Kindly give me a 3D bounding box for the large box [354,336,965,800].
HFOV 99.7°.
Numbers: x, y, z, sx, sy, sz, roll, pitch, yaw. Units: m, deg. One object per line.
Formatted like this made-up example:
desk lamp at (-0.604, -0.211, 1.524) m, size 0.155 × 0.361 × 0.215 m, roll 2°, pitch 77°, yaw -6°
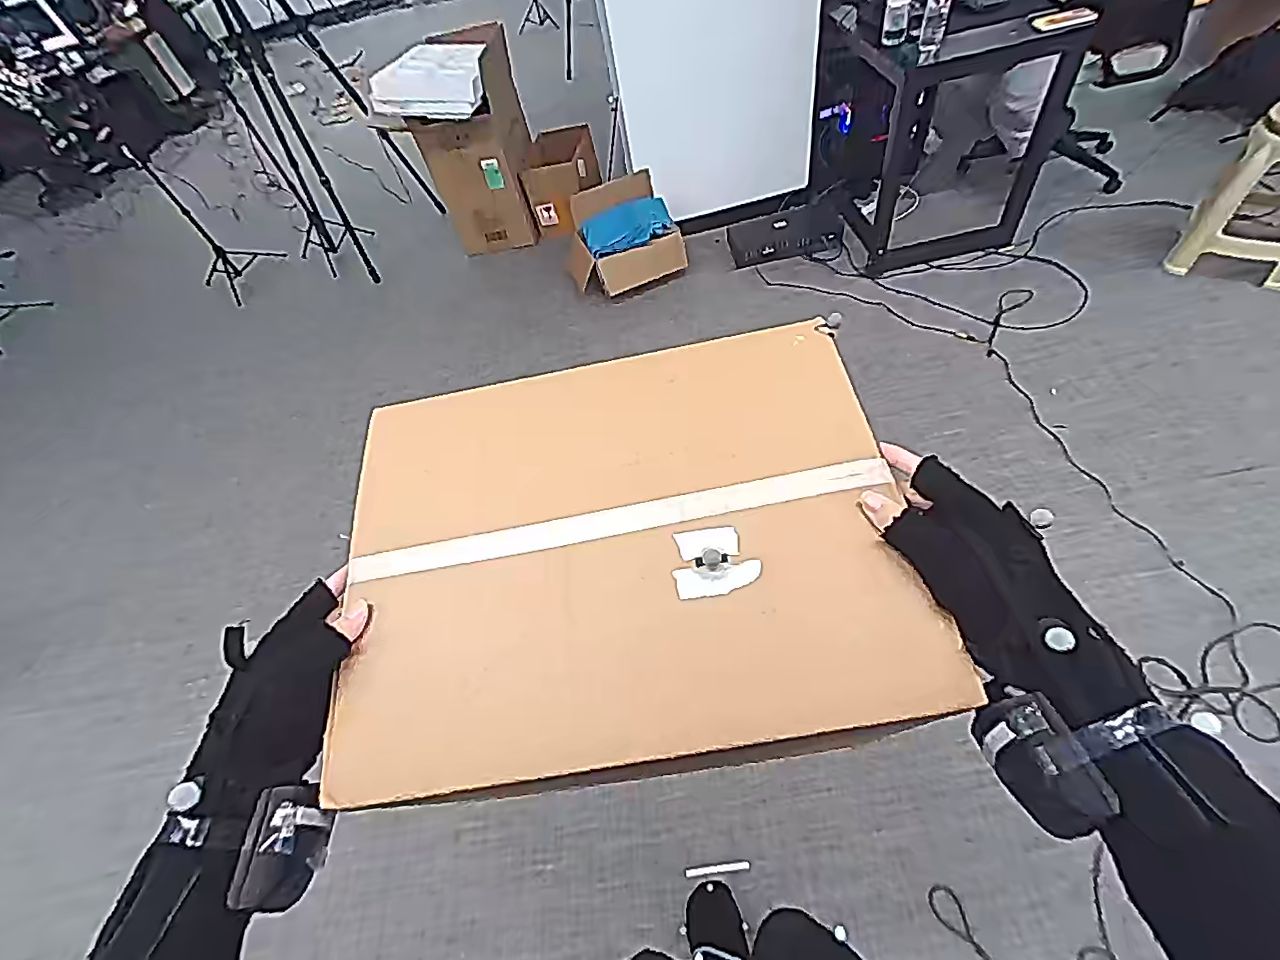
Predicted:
large box at (0.005, 0.111, 0.542) m, size 0.408 × 0.320 × 0.320 m, roll -10°, pitch 60°, yaw 3°
